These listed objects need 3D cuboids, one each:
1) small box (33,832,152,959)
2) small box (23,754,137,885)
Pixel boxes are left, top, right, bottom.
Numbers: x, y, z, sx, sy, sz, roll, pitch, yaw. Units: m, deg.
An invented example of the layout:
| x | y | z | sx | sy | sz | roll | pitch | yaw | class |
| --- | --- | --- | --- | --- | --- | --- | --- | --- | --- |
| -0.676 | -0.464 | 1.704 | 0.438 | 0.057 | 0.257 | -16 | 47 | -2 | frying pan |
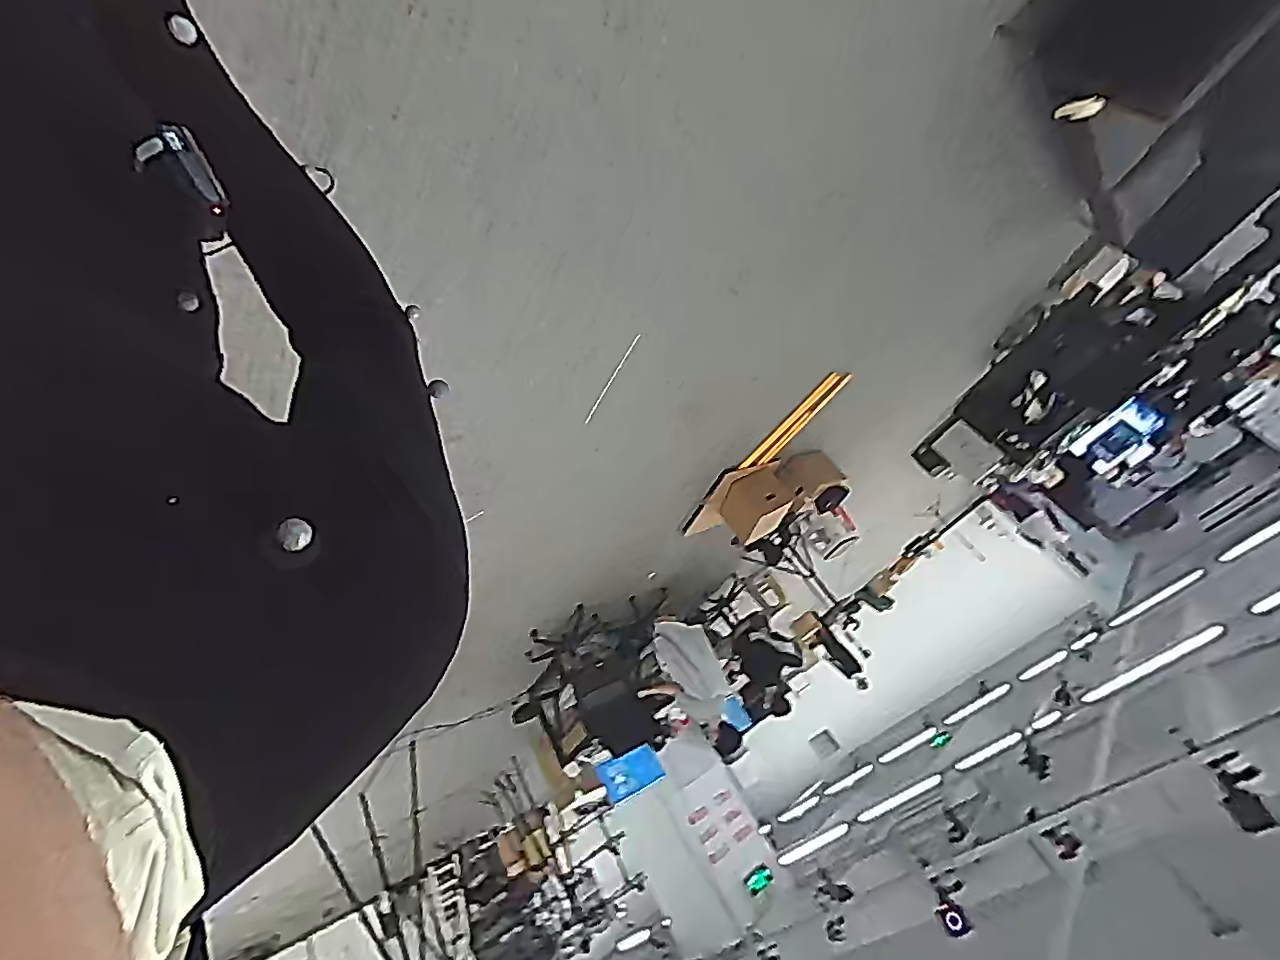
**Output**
| x | y | z | sx | sy | sz | roll | pitch | yaw | class |
| --- | --- | --- | --- | --- | --- | --- | --- | --- | --- |
| -1.157 | 0.883 | 1.141 | 0.168 | 0.176 | 0.179 | 1 | 136 | -48 | small box |
| -1.231 | 0.744 | 1.198 | 0.168 | 0.176 | 0.179 | -4 | 138 | -45 | small box |
